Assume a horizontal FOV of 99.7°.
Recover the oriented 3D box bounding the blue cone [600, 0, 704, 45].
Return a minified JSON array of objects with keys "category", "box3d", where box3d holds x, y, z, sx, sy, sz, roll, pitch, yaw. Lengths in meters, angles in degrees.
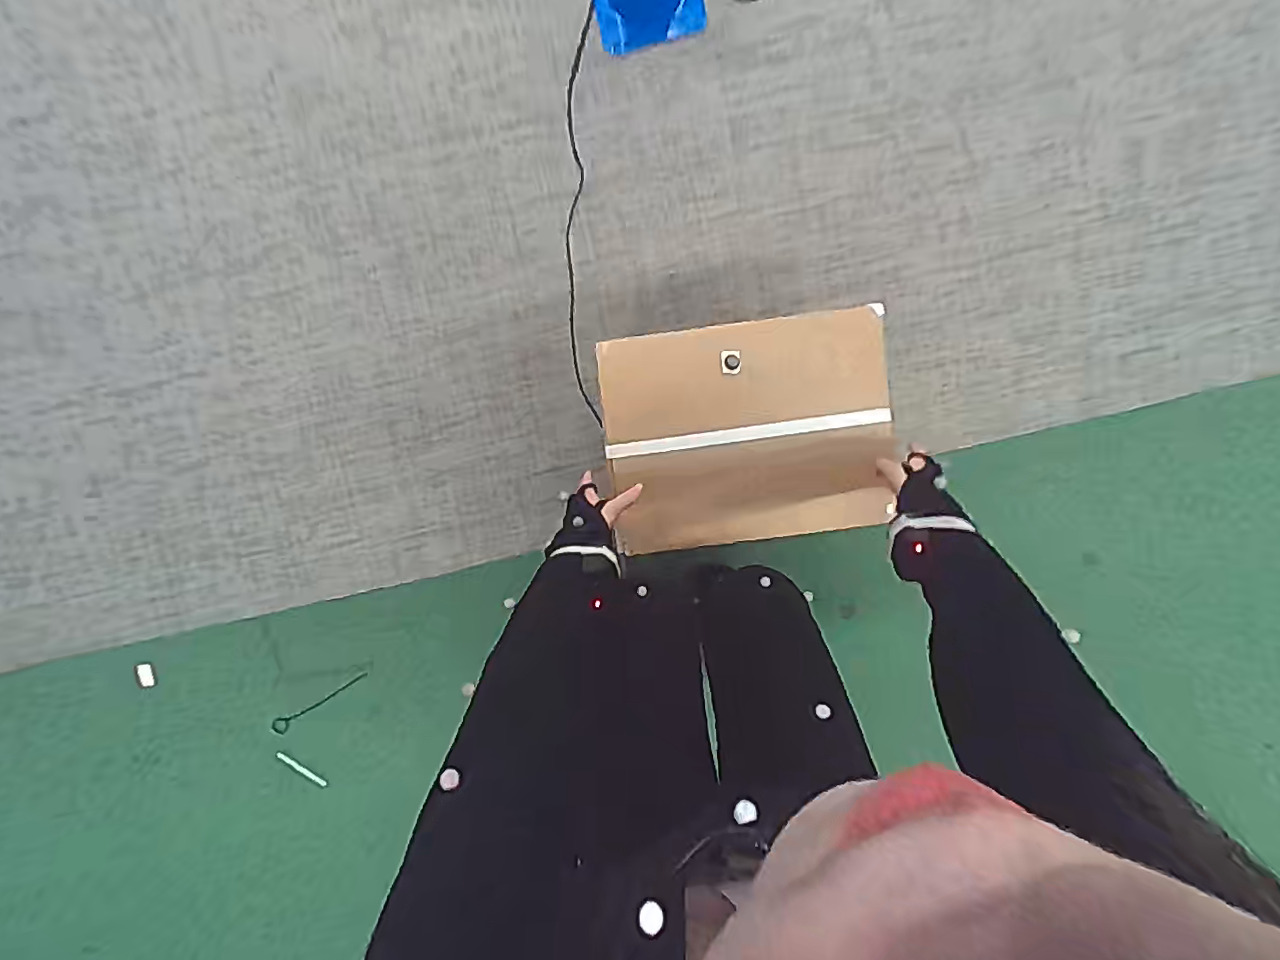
[{"category":"blue cone","box3d":[0.006,-0.888,0.817,0.193,0.380,0.192,-16,94,3]}]
